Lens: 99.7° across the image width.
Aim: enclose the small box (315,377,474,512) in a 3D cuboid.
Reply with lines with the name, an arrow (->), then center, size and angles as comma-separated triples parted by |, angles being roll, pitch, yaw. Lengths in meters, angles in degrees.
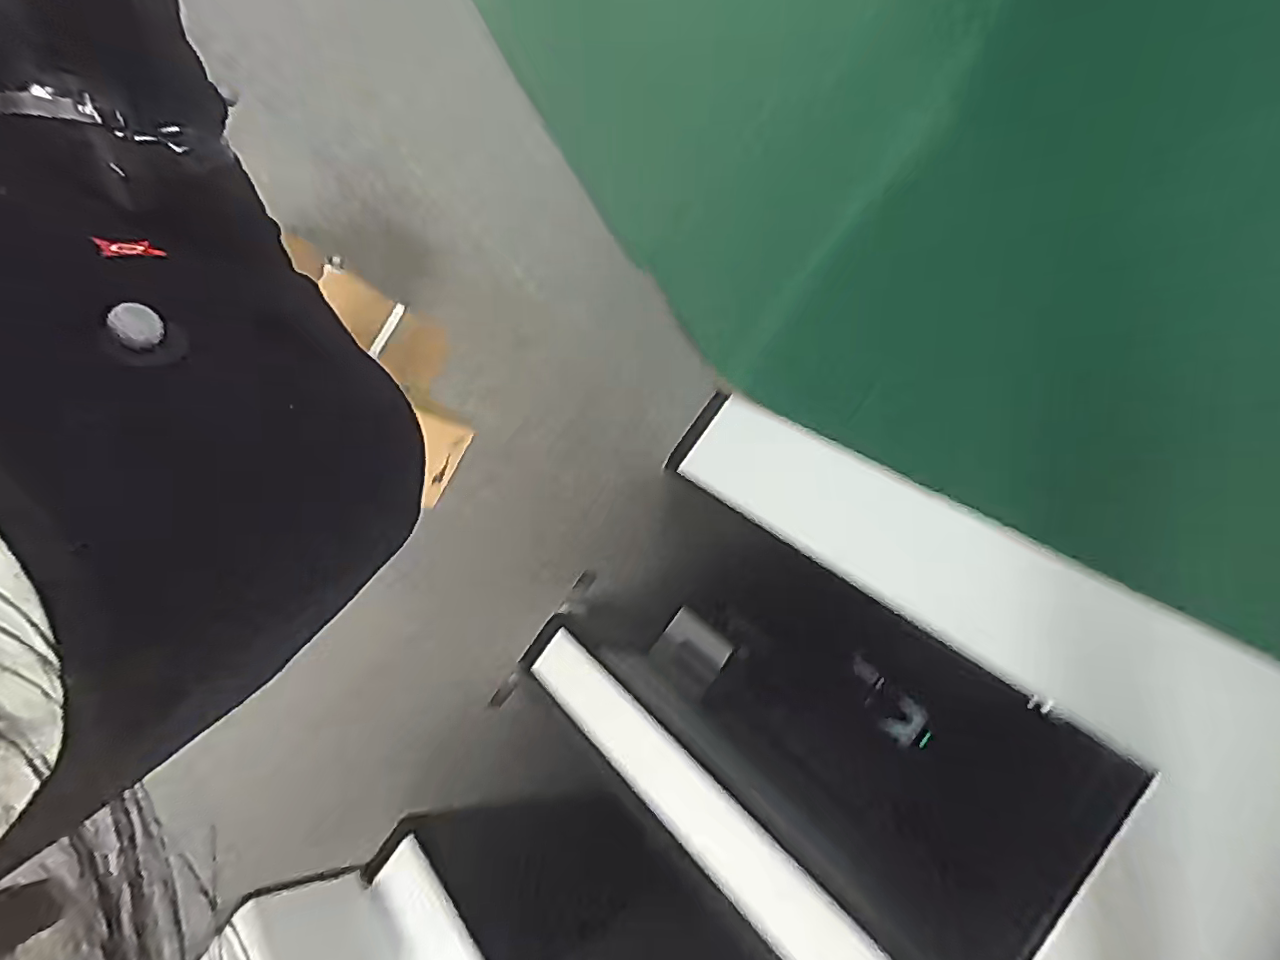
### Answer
small box -> -0.447, -0.067, 0.978 | 0.168, 0.176, 0.179 | -59, 147, 5
